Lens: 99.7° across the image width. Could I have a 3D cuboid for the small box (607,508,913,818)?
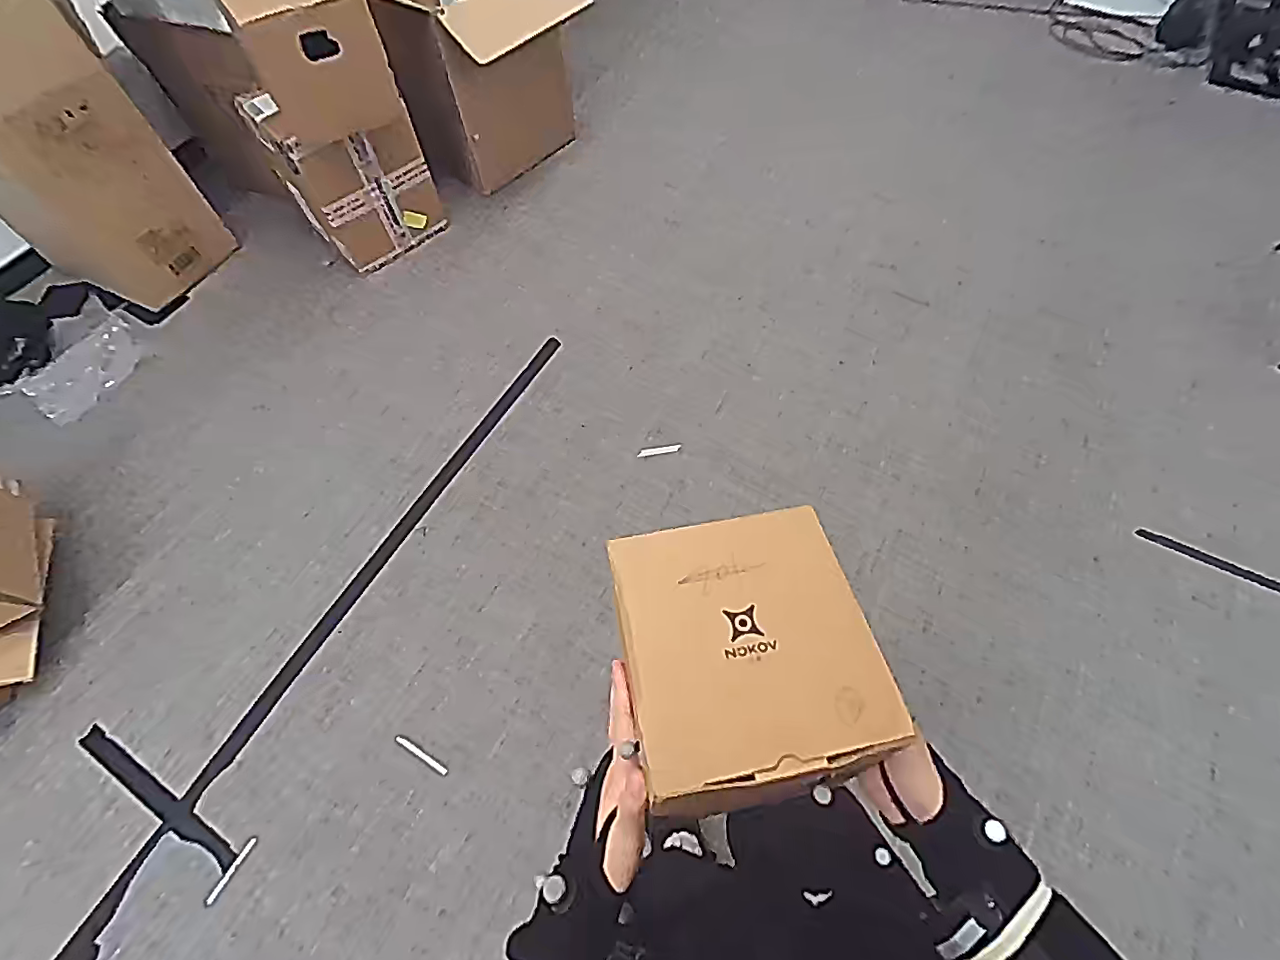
[{"bbox_3d":[0.071,0.150,0.427,0.168,0.176,0.179,-9,52,-7],"label":"small box"}]
